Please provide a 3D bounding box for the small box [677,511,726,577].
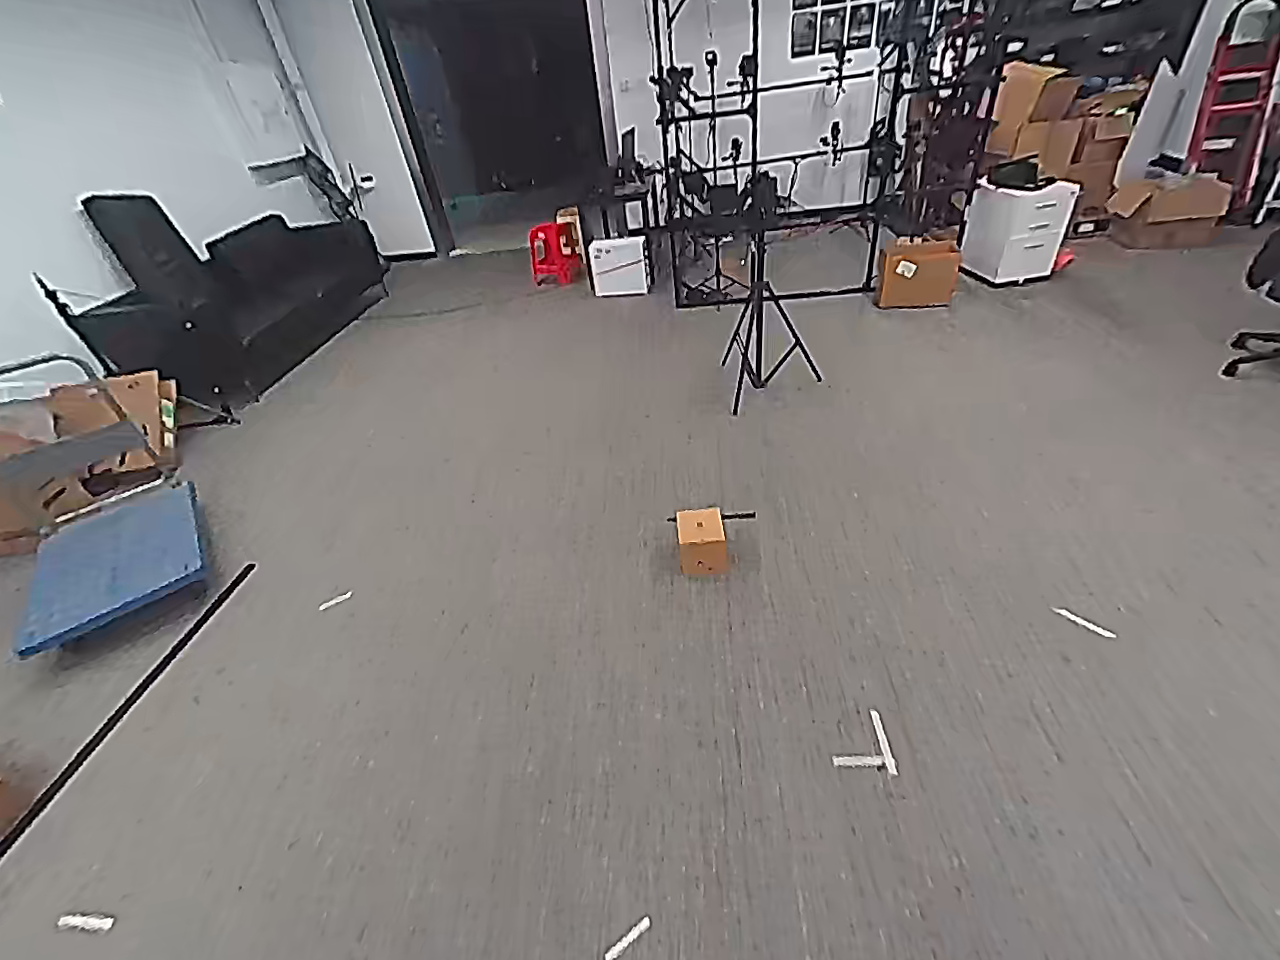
[{"bbox_3d":[0.230,0.240,2.027,0.168,0.176,0.179,-6,37,4],"label":"small box"}]
